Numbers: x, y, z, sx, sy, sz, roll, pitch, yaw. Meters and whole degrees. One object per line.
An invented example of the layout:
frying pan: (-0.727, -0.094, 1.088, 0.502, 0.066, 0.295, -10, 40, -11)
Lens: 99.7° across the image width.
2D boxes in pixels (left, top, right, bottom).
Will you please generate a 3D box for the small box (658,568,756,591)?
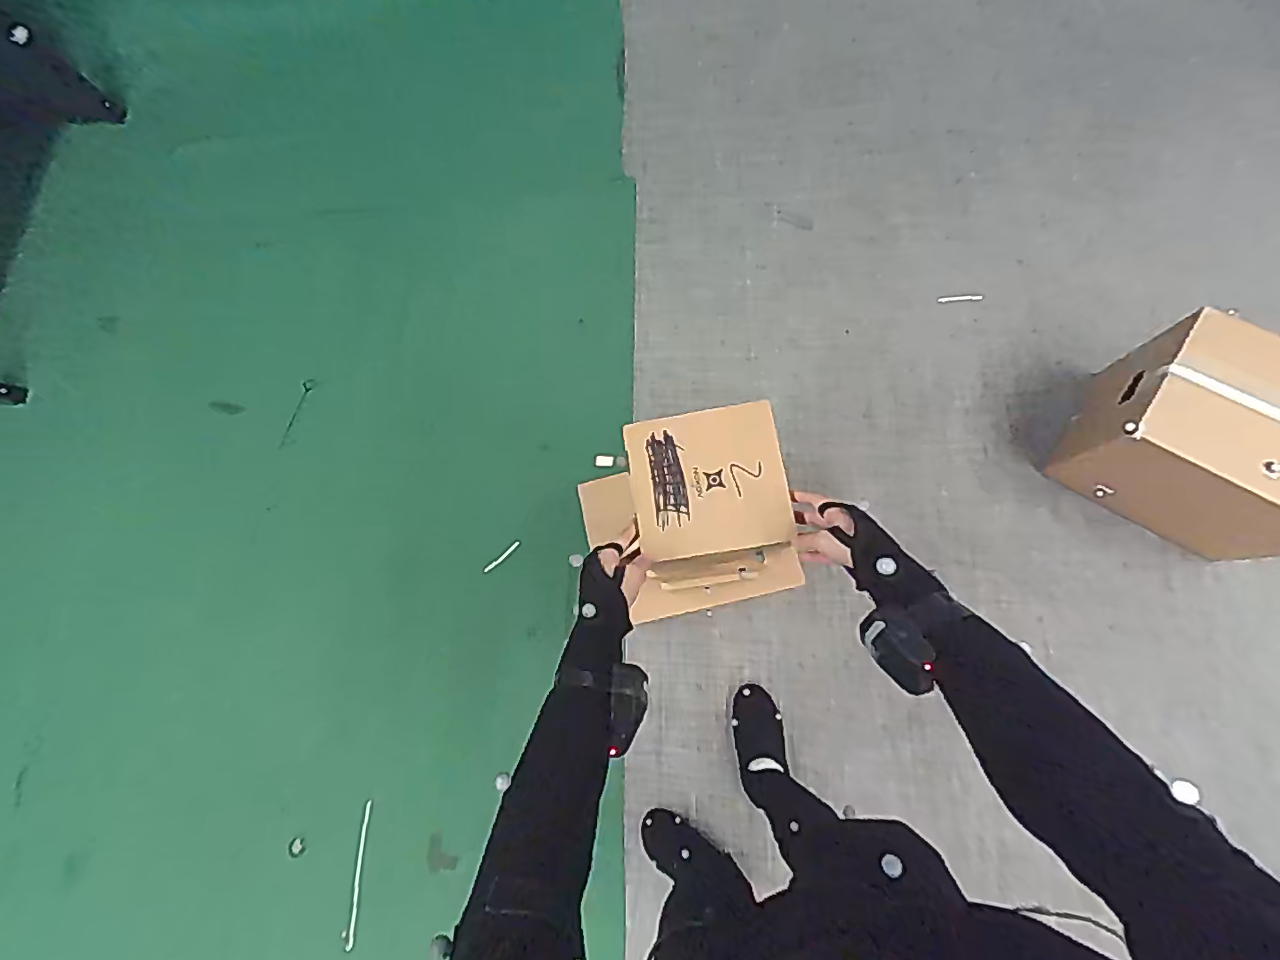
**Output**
small box: (0.114, 0.108, 0.991, 0.168, 0.176, 0.179, -9, 75, 5)

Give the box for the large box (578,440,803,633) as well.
large box: (0.115, 0.144, 1.238, 0.408, 0.320, 0.320, -15, 74, 5)

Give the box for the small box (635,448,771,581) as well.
small box: (0.096, 0.062, 0.838, 0.179, 0.176, 0.168, -8, 76, 5)
